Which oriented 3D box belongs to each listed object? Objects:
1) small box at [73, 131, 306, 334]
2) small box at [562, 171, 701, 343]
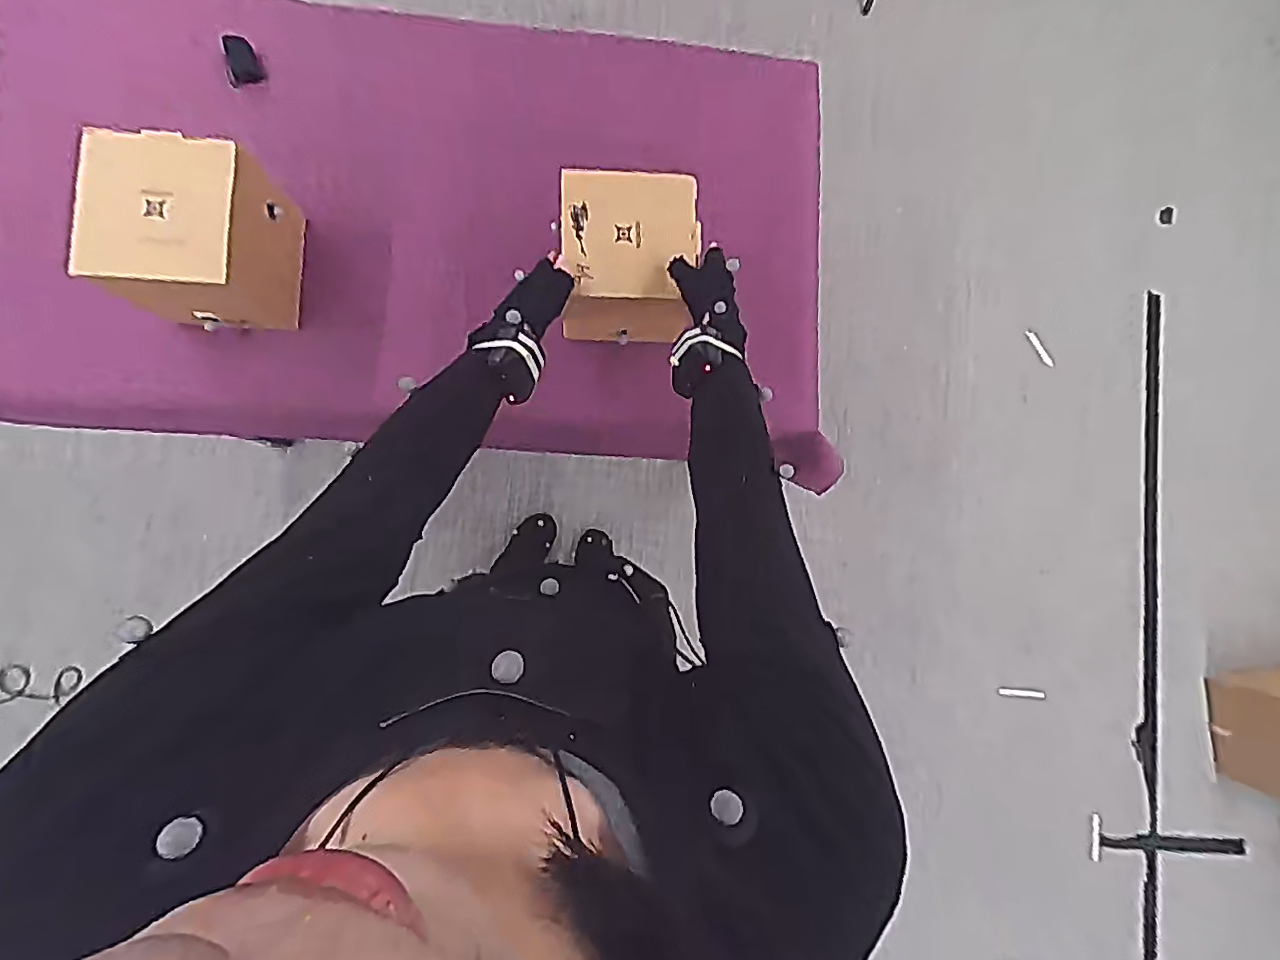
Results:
[{"bbox_3d":[-0.559,-0.305,0.698,0.168,0.176,0.179,1,86,-6],"label":"small box"},{"bbox_3d":[-0.020,-0.300,0.763,0.179,0.176,0.168,0,85,-7],"label":"small box"}]
